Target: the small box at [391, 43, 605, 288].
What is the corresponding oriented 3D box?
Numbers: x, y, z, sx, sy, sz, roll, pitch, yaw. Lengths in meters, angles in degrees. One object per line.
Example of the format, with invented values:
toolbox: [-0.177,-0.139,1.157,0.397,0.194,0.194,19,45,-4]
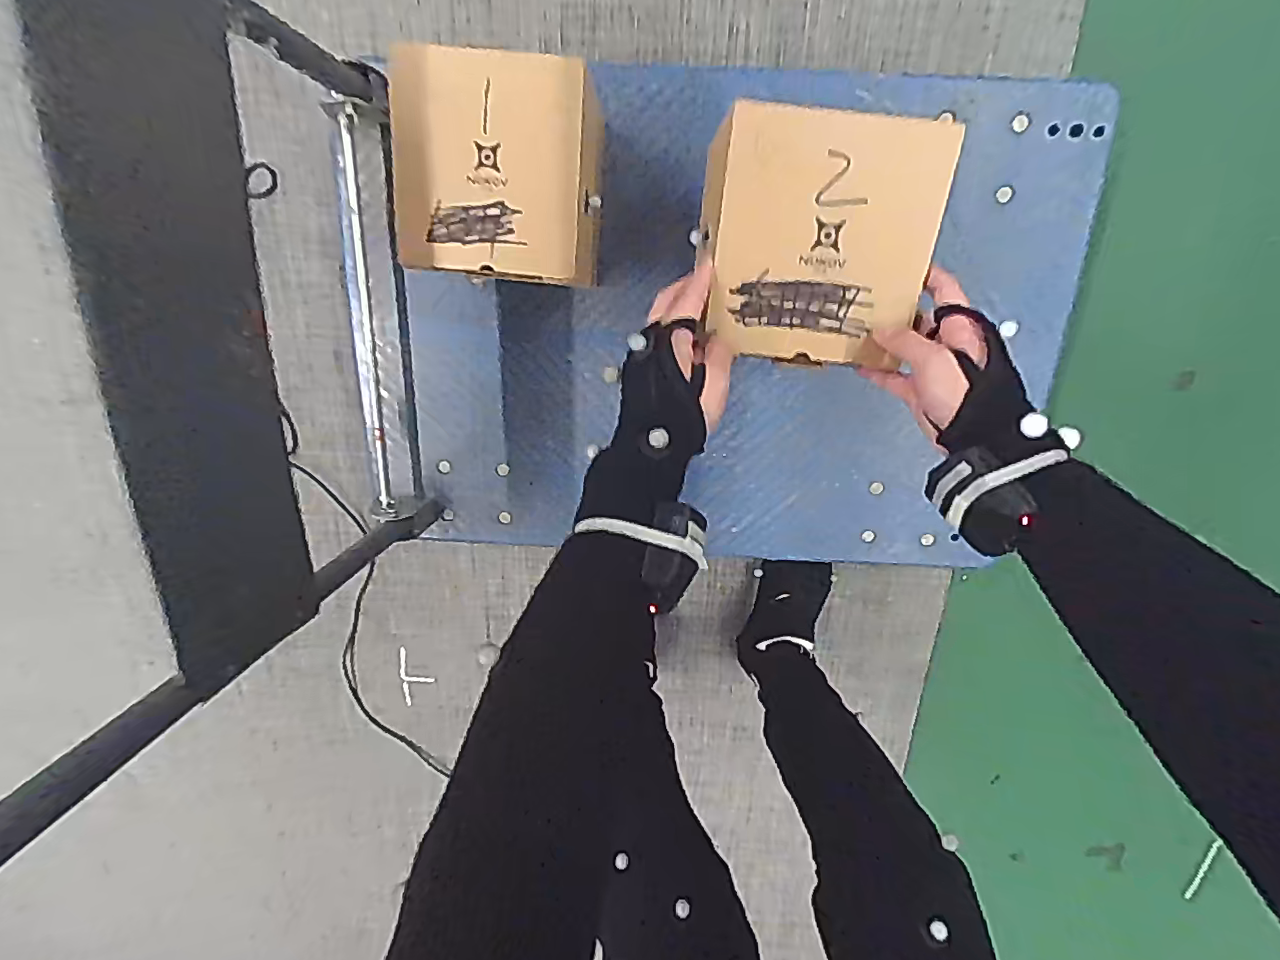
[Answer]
small box: [-0.127,-0.292,0.543,0.168,0.176,0.179,5,107,0]
